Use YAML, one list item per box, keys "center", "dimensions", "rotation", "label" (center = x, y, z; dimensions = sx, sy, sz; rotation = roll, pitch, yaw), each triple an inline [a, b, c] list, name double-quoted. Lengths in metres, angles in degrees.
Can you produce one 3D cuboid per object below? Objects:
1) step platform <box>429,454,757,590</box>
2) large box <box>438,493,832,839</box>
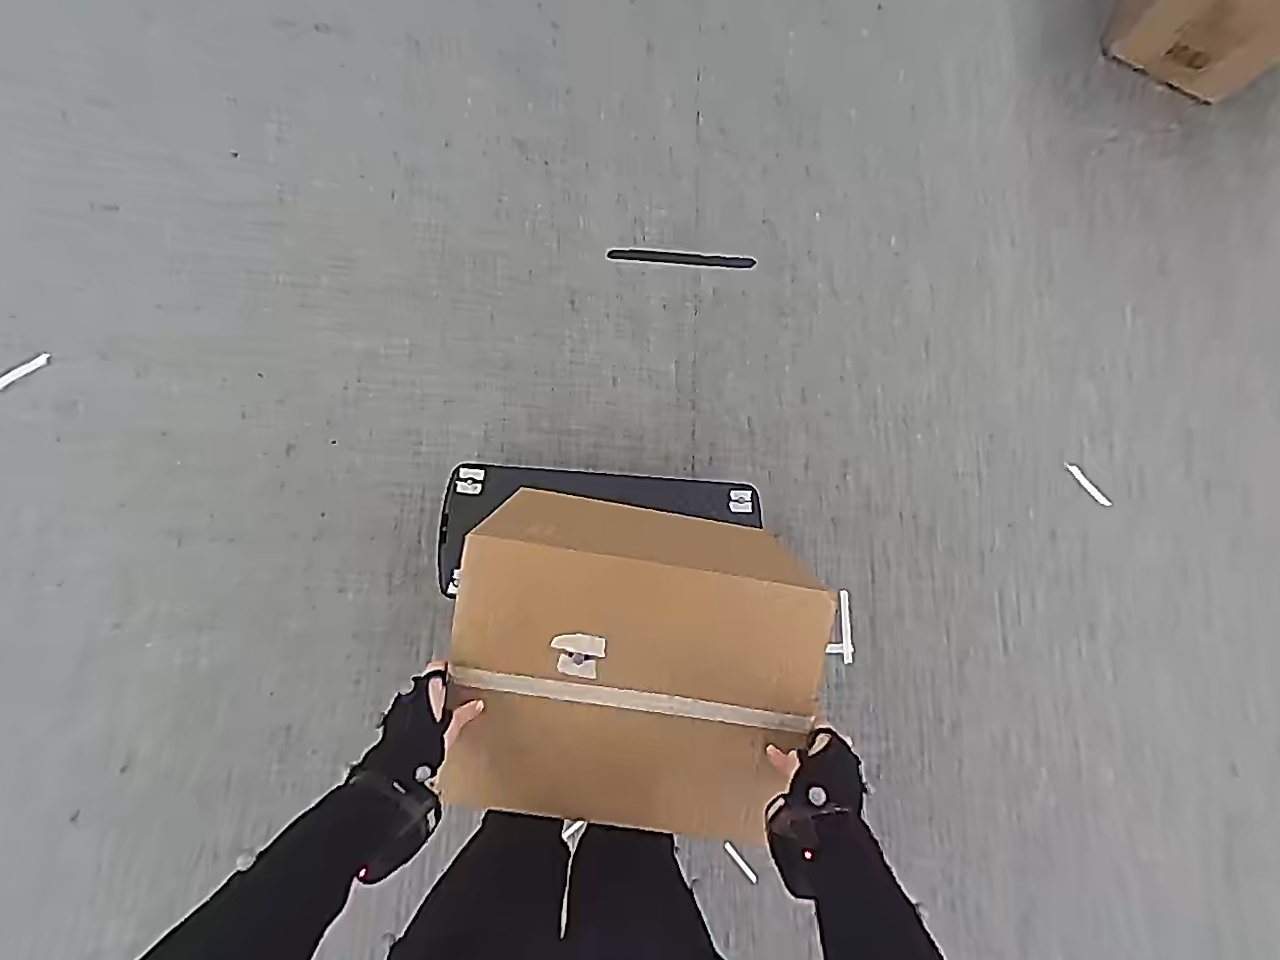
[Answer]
- center: [-0.091, 0.137, 1.184]
  dimensions: [0.684, 0.204, 0.286]
  rotation: [9, 81, -4]
  label: "step platform"
- center: [-0.009, 0.216, 0.741]
  dimensions: [0.408, 0.320, 0.320]
  rotation: [10, 96, -2]
  label: "large box"
